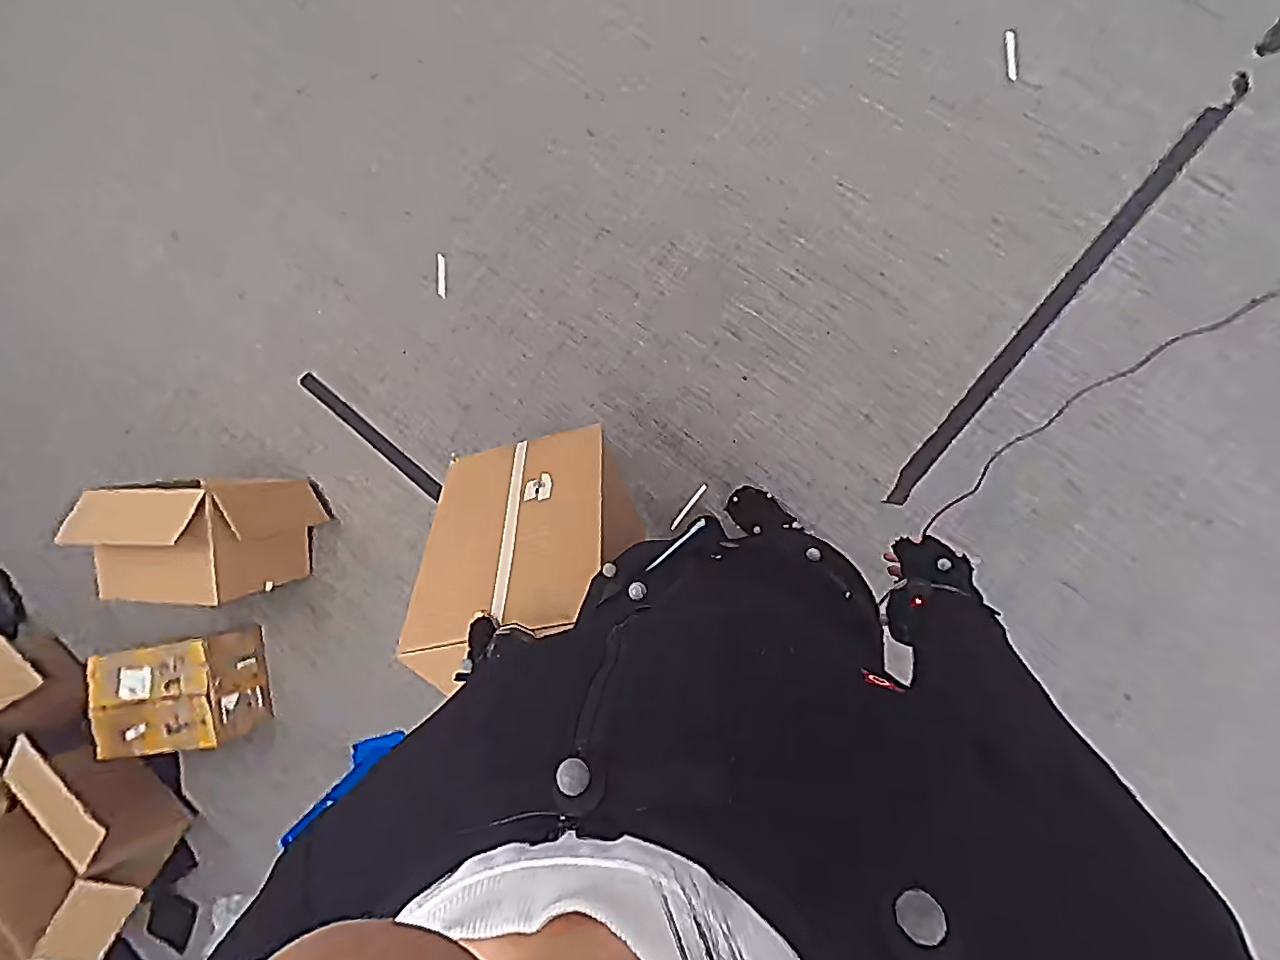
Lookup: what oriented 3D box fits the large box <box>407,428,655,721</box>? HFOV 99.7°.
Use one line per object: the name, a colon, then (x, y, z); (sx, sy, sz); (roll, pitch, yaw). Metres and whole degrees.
large box: (-0.166, 0.174, 1.002); (0.320, 0.320, 0.408); (-11, 45, 9)
